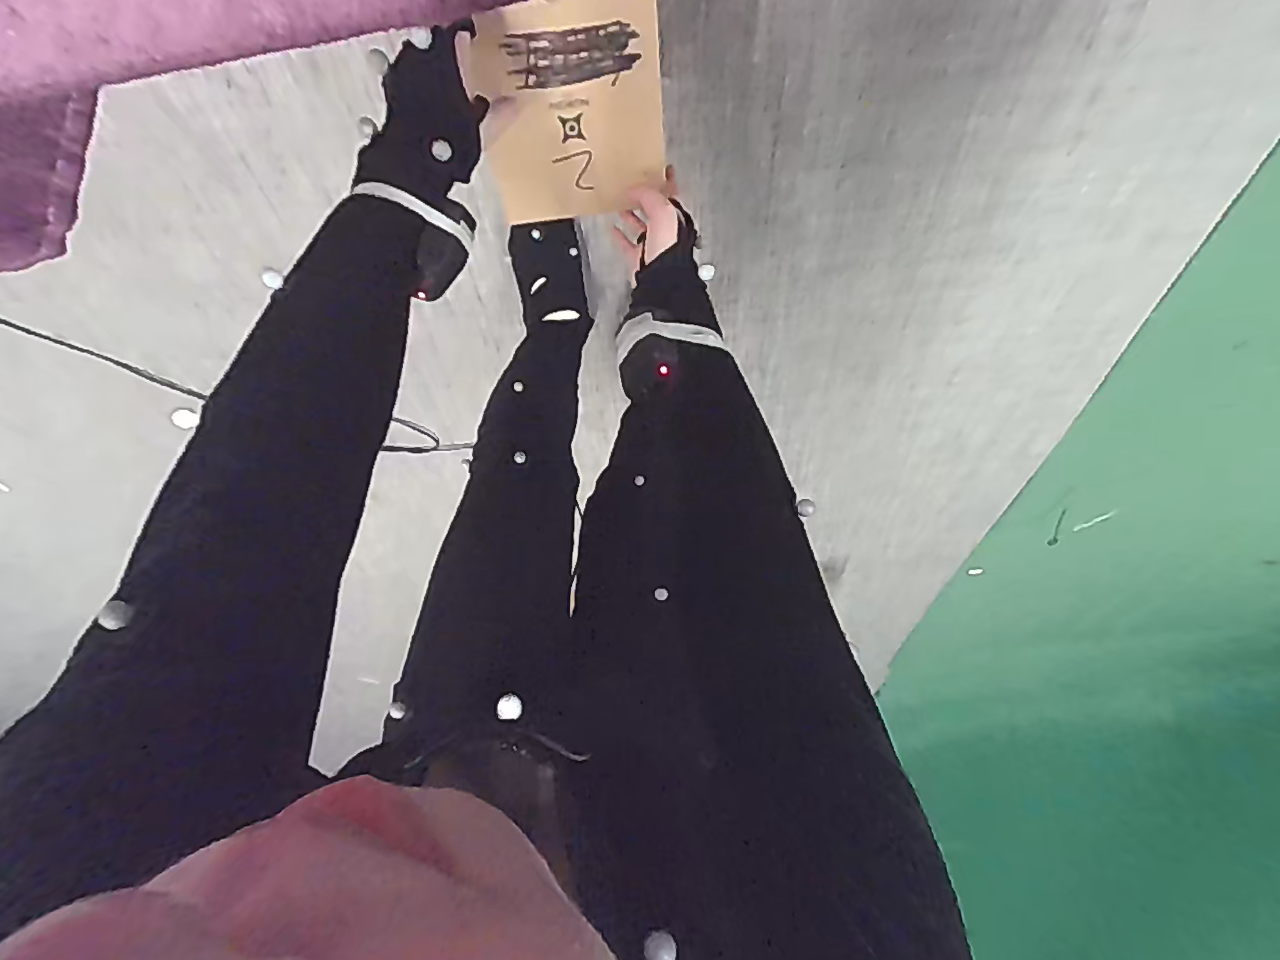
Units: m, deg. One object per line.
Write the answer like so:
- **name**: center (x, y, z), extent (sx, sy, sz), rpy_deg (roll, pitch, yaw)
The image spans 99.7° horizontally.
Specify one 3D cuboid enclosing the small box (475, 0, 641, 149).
- **small box**: center (-0.088, -0.524, 0.639), extent (0.168, 0.176, 0.179), rpy_deg (-6, 140, 1)
